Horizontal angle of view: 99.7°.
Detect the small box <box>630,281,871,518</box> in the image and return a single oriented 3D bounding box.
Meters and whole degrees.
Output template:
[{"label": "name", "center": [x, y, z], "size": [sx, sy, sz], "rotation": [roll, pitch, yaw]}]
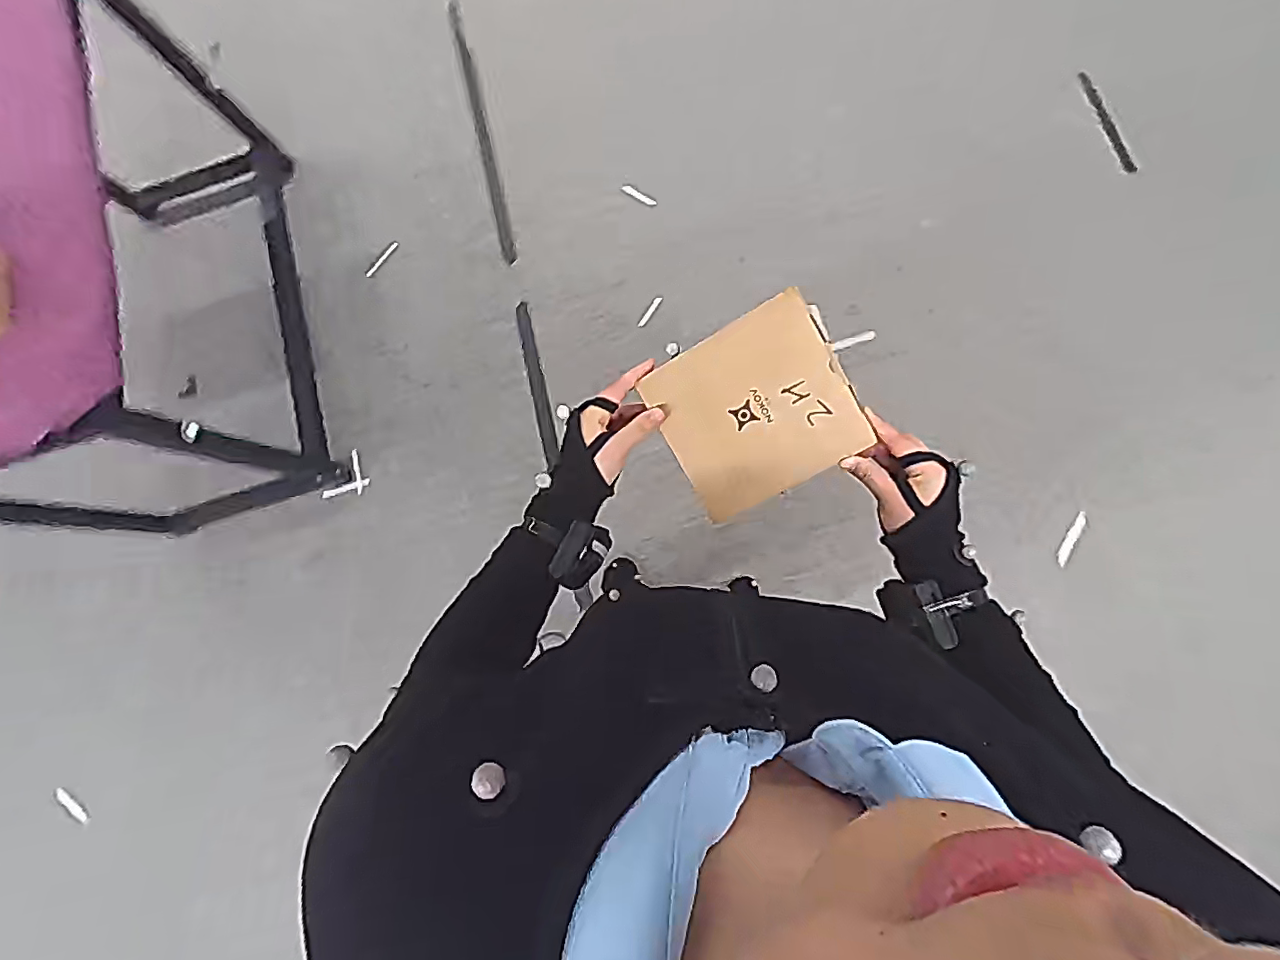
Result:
[{"label": "small box", "center": [0.116, -0.086, 0.585], "size": [0.179, 0.176, 0.168], "rotation": [-29, 97, 15]}]
